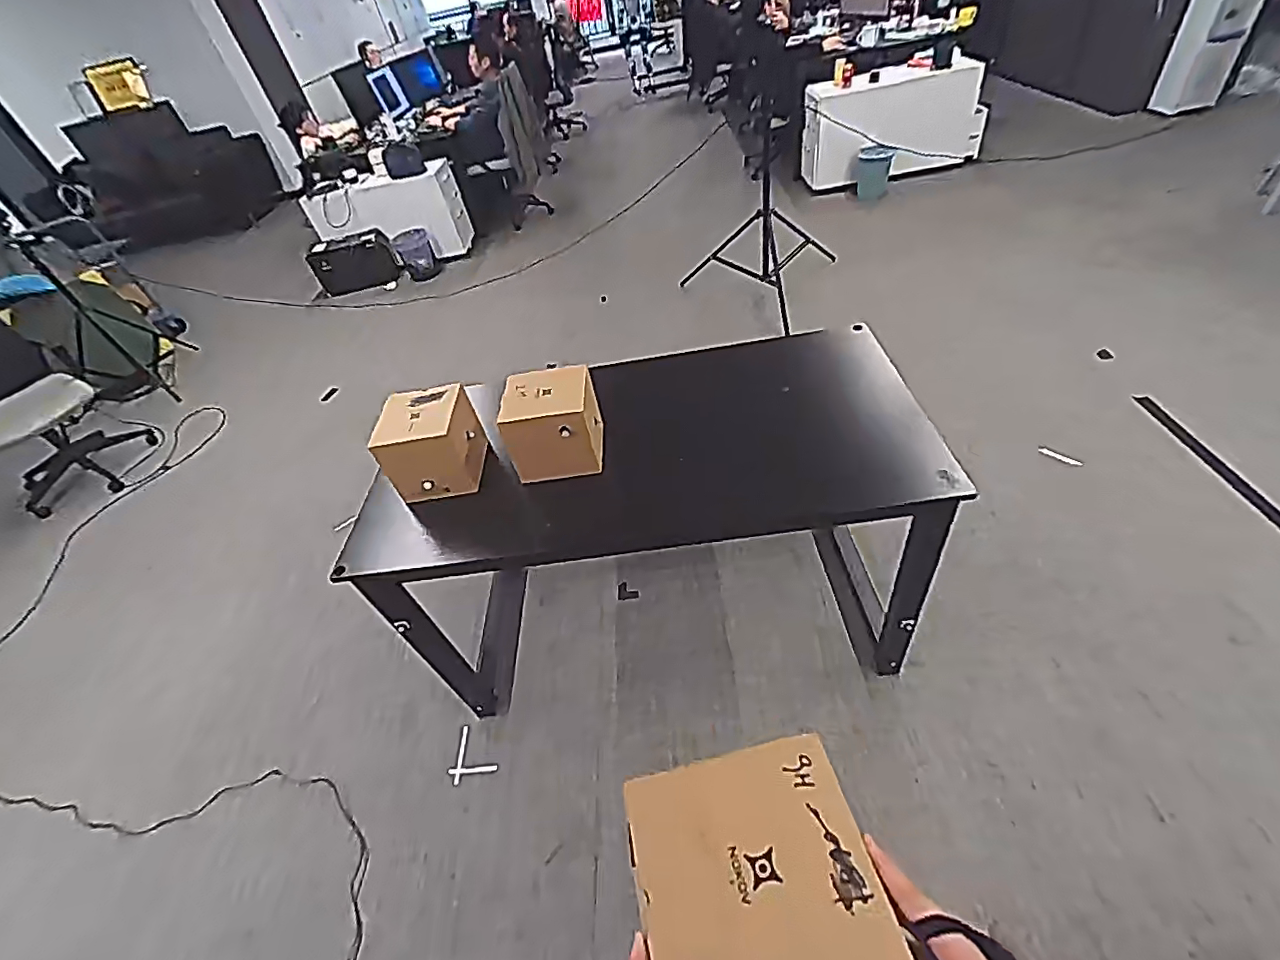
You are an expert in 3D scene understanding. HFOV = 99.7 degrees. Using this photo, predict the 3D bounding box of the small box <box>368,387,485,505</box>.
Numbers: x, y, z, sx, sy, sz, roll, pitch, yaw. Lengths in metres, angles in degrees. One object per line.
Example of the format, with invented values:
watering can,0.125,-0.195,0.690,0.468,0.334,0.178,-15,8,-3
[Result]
small box,-0.447,-0.072,1.168,0.168,0.176,0.179,-9,45,4

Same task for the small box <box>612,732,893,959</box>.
small box,0.087,0.351,0.466,0.179,0.176,0.168,-14,44,-1

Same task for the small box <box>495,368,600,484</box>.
small box,-0.184,-0.111,1.145,0.179,0.176,0.168,-8,44,5
